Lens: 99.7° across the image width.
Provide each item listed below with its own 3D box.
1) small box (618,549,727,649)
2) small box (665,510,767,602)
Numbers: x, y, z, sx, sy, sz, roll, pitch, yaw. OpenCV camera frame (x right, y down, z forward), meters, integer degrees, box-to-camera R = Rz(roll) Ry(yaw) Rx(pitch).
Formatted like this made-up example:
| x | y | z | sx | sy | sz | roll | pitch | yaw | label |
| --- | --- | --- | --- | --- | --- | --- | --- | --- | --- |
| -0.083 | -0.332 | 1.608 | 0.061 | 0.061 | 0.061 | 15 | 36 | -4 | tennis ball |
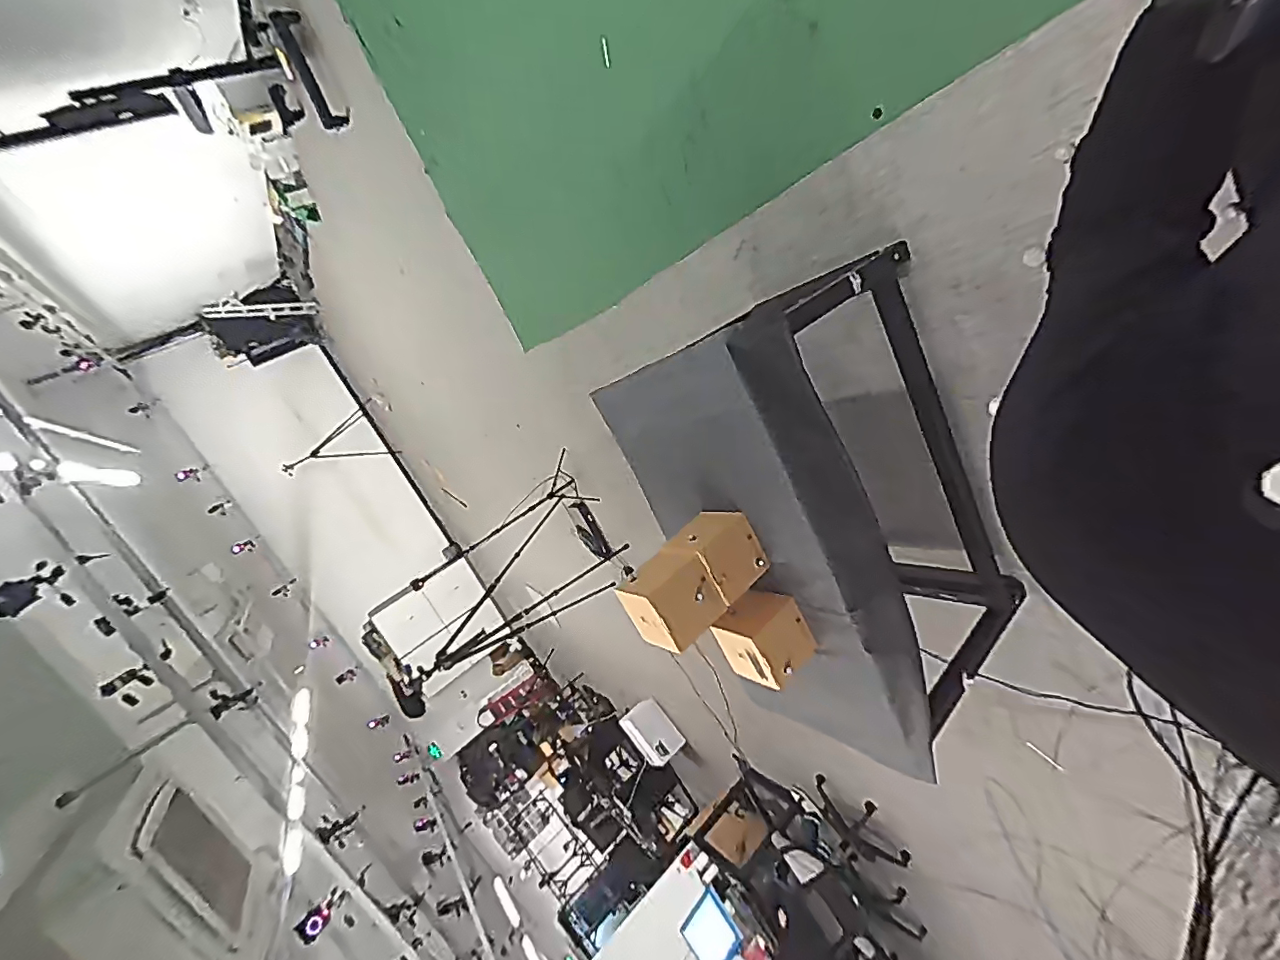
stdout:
| x | y | z | sx | sy | sz | roll | pitch | yaw | label |
| --- | --- | --- | --- | --- | --- | --- | --- | --- | --- |
| 0.081 | 0.284 | 1.337 | 0.179 | 0.176 | 0.168 | -8 | 115 | 60 | small box |
| 0.202 | 0.187 | 1.394 | 0.179 | 0.176 | 0.168 | -4 | 117 | 60 | small box |
